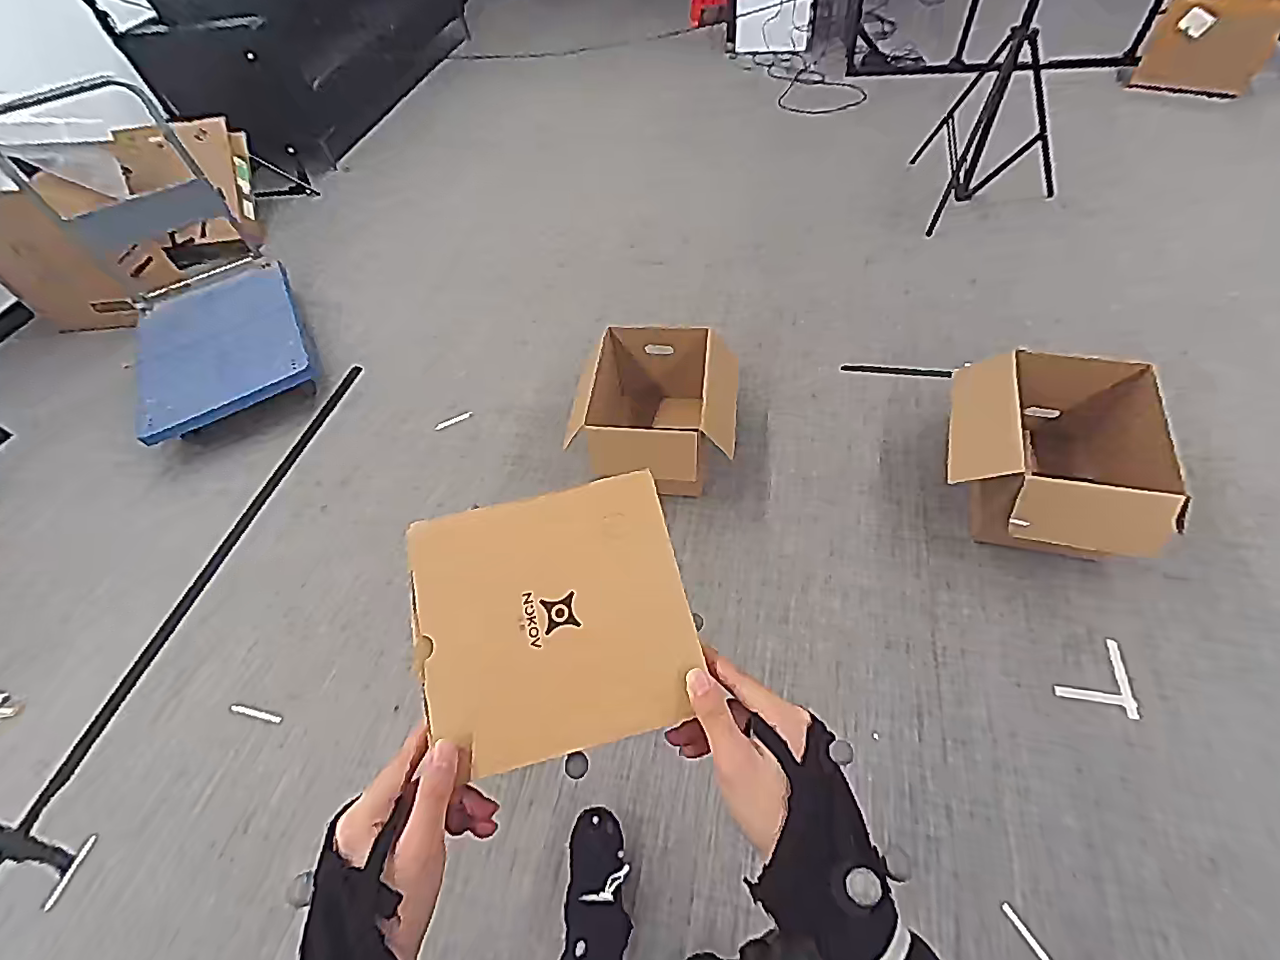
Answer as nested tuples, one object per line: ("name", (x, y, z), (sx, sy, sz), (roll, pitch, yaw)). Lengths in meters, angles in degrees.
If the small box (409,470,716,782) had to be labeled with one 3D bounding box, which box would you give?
("small box", (-0.056, 0.112, 0.424), (0.179, 0.176, 0.168), (-14, 70, -4))
